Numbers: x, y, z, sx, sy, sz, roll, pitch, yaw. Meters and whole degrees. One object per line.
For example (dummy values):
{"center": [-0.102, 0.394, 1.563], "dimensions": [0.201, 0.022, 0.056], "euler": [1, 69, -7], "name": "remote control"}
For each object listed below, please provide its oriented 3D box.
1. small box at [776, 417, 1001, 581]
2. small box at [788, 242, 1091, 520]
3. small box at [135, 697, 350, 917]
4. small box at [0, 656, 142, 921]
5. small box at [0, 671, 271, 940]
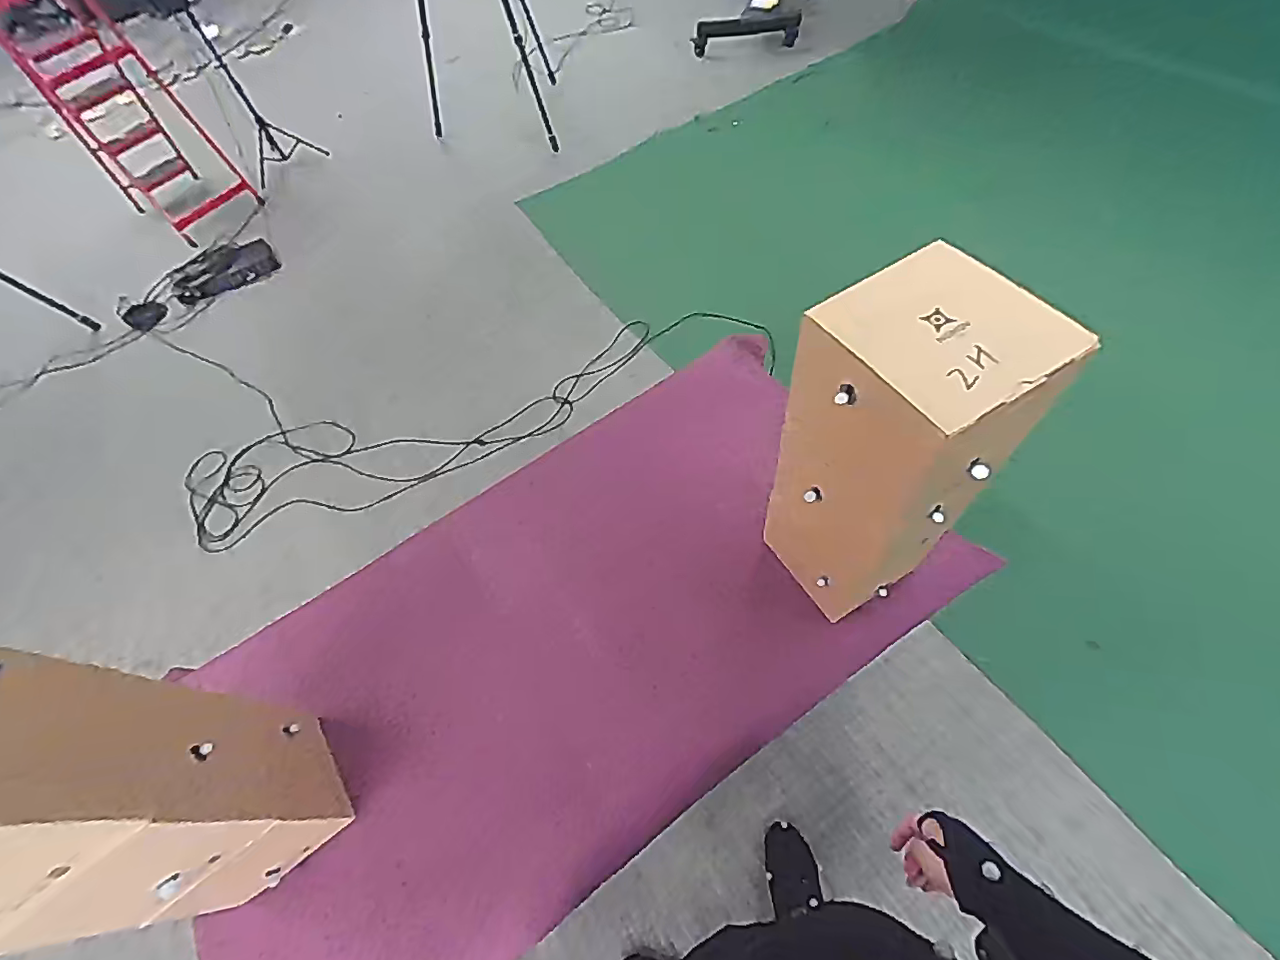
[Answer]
{"center": [0.288, -0.005, 0.677], "dimensions": [0.168, 0.176, 0.179], "euler": [-30, 59, -9], "name": "small box"}
{"center": [0.267, -0.092, 0.538], "dimensions": [0.168, 0.176, 0.179], "euler": [-29, 60, -9], "name": "small box"}
{"center": [-0.531, 0.427, 0.723], "dimensions": [0.168, 0.176, 0.179], "euler": [-36, 62, -13], "name": "small box"}
{"center": [-0.569, 0.261, 0.445], "dimensions": [0.168, 0.176, 0.179], "euler": [-37, 61, -13], "name": "small box"}
{"center": [-0.550, 0.343, 0.584], "dimensions": [0.168, 0.176, 0.179], "euler": [-36, 62, -13], "name": "small box"}
